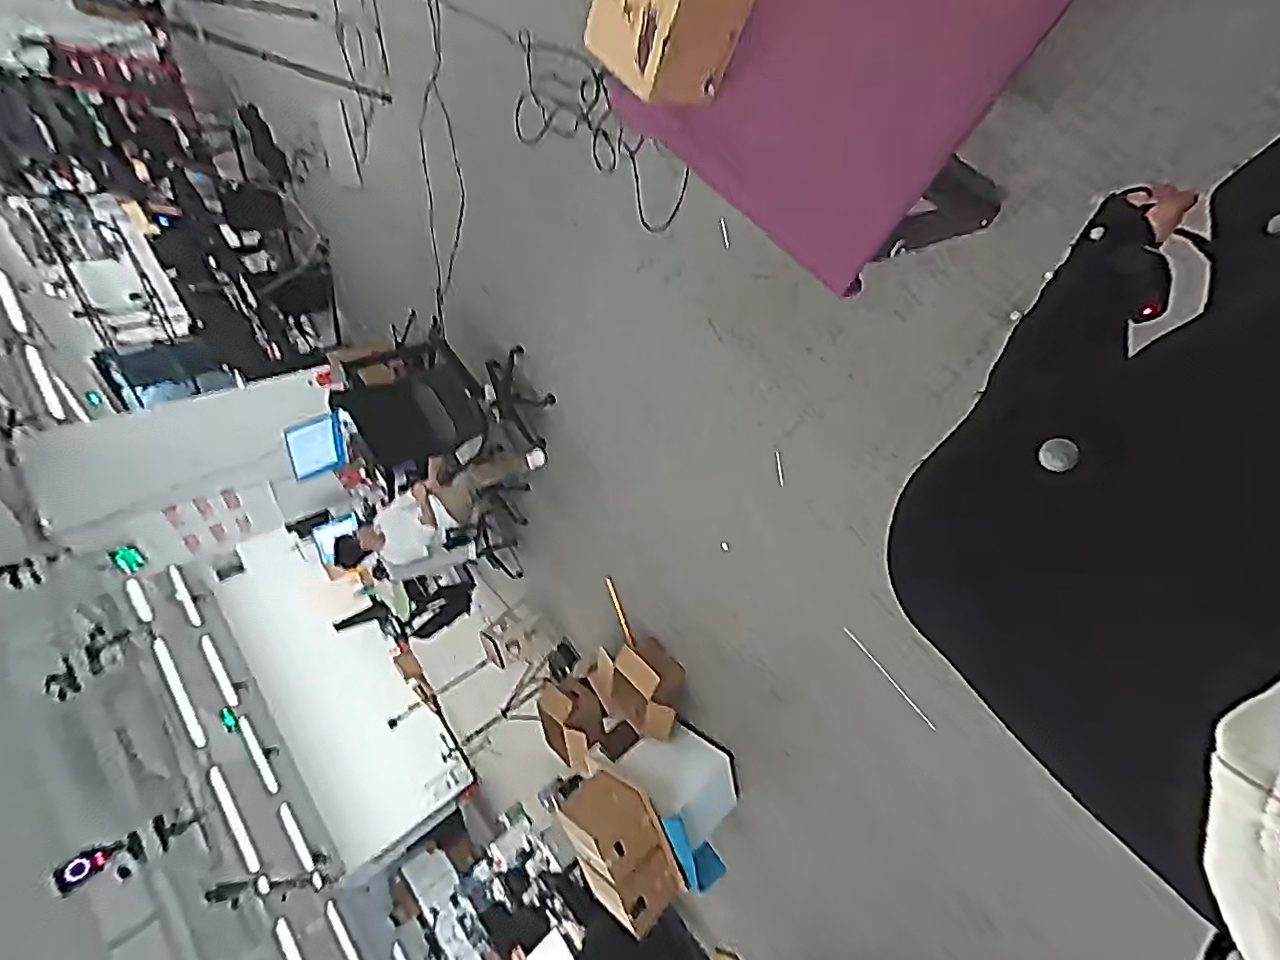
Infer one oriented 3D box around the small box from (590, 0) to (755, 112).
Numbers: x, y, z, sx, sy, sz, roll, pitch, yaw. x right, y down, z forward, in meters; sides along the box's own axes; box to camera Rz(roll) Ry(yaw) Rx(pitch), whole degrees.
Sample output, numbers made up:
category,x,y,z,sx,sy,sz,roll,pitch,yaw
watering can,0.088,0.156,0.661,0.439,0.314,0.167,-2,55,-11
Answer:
category,x,y,z,sx,sy,sz,roll,pitch,yaw
small box,0.053,-0.738,0.884,0.179,0.176,0.168,51,142,15
